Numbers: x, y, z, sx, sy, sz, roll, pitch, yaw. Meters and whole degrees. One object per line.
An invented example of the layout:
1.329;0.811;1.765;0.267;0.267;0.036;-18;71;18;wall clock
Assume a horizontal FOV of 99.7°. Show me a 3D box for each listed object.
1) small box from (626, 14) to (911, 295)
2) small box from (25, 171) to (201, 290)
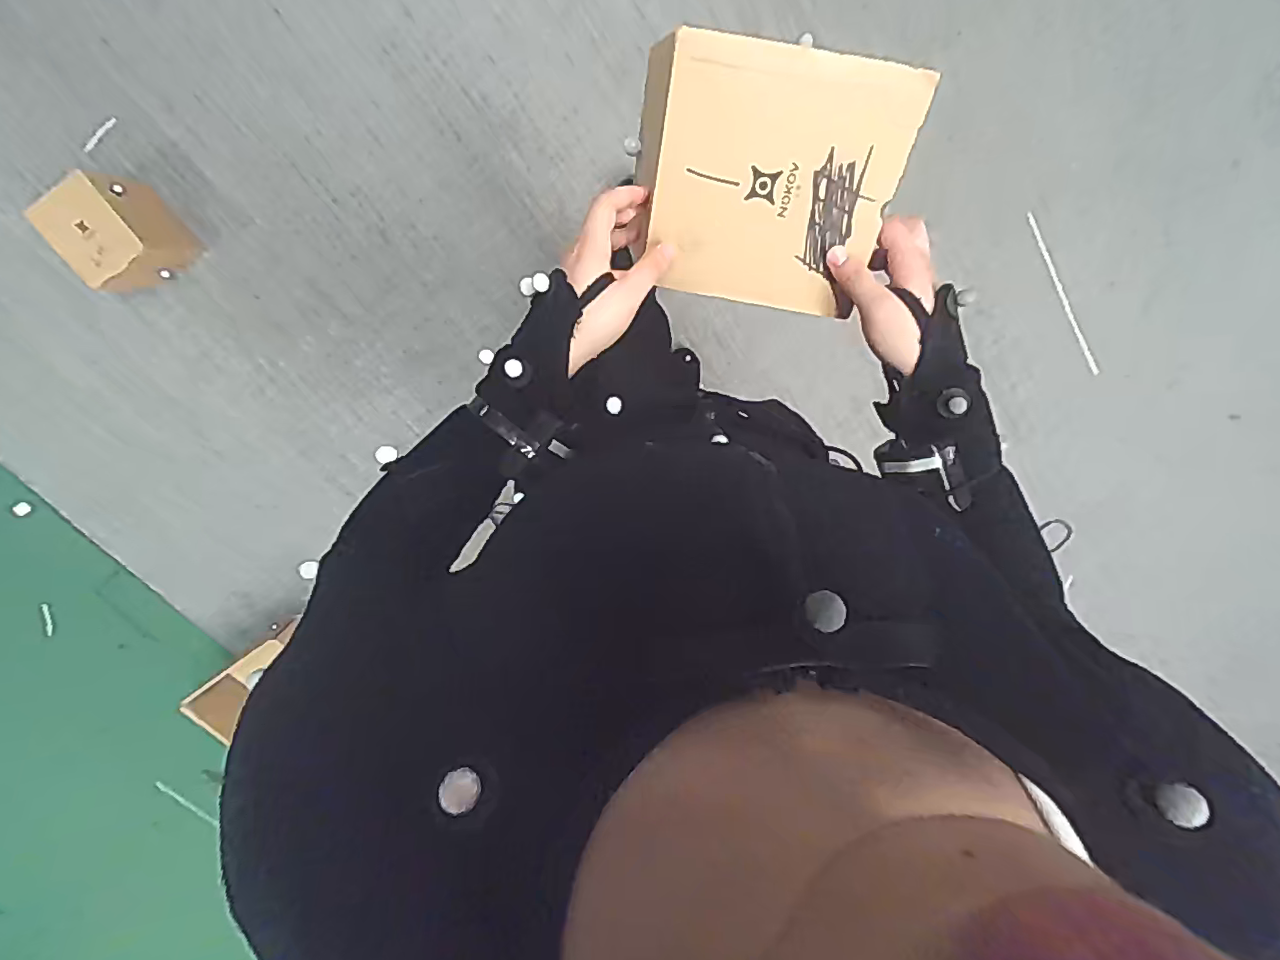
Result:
0.089;-0.278;0.478;0.179;0.176;0.168;4;123;-9;small box
-1.140;-0.536;1.186;0.168;0.176;0.179;-29;109;9;small box
